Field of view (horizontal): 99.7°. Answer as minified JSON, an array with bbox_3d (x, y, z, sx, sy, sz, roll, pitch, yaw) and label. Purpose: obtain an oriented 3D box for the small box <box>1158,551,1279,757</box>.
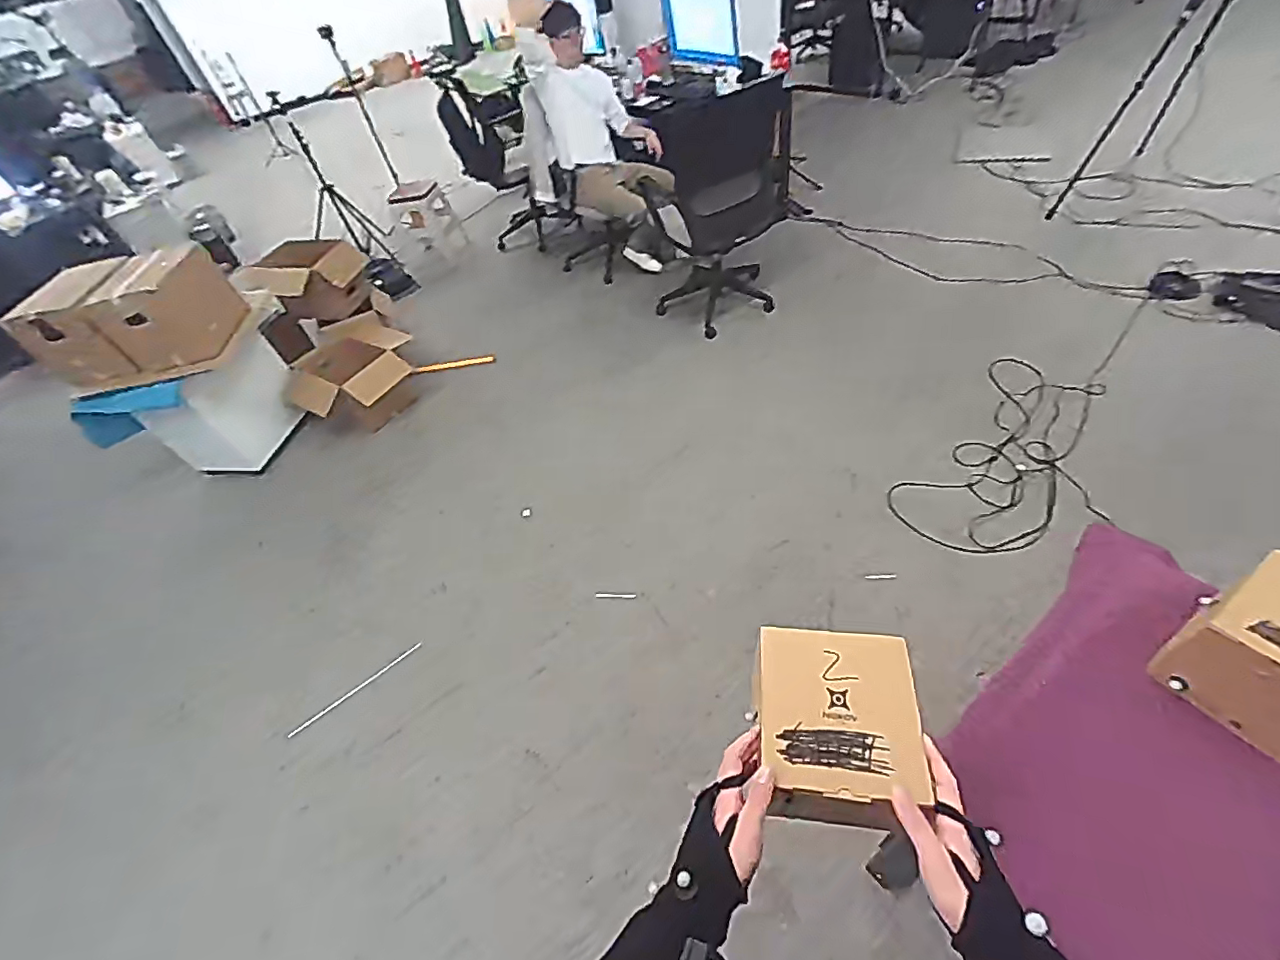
[{"bbox_3d":[0.858,0.237,0.723,0.179,0.176,0.168,-33,51,-15],"label":"small box"}]
